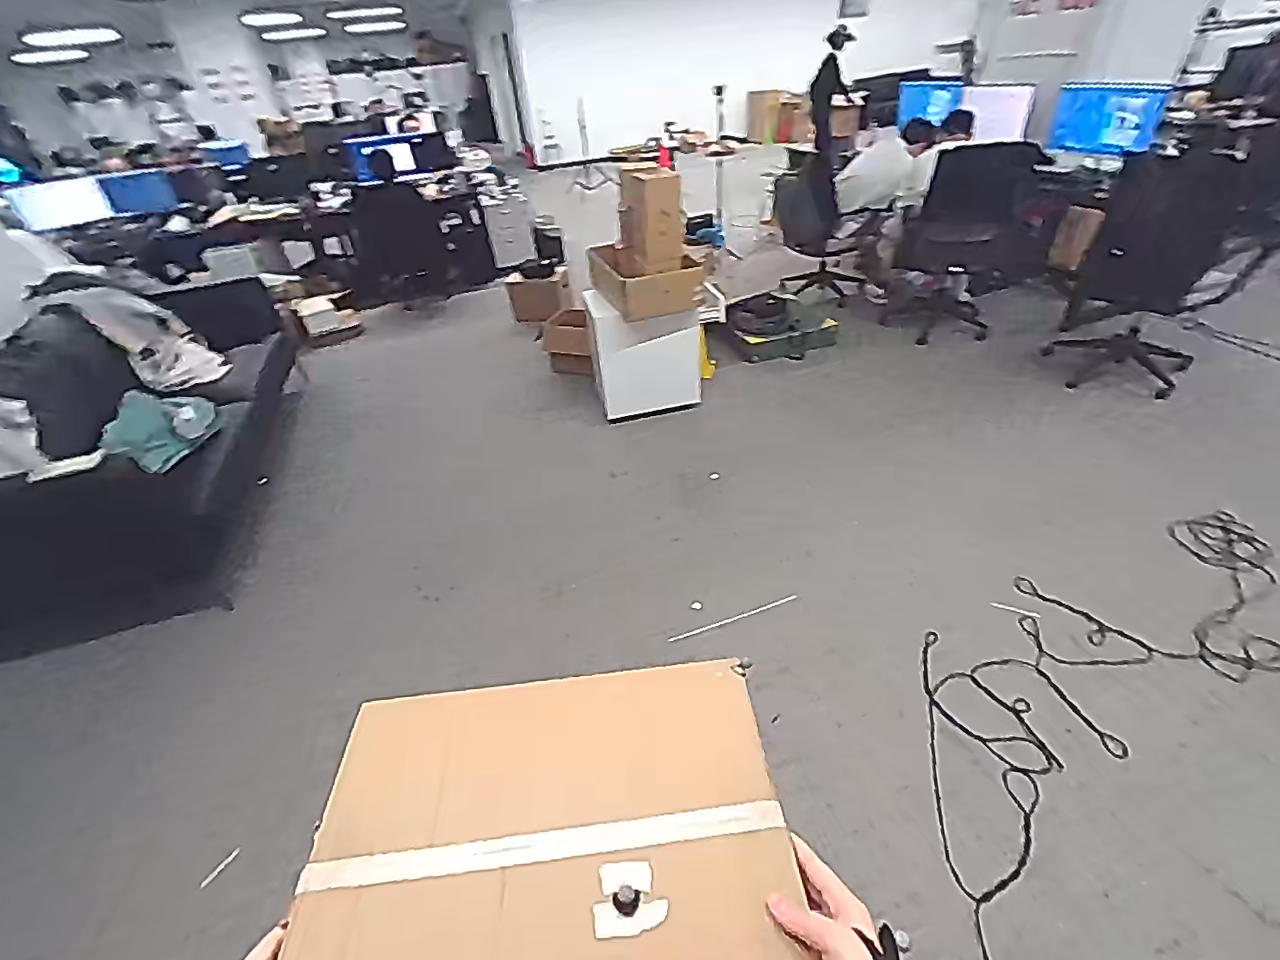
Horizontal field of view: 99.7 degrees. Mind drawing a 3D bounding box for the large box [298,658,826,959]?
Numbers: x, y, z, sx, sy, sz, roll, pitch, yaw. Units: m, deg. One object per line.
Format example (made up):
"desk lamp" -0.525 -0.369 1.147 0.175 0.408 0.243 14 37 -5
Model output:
"large box" -0.064 0.427 0.562 0.408 0.320 0.320 -5 39 -2
